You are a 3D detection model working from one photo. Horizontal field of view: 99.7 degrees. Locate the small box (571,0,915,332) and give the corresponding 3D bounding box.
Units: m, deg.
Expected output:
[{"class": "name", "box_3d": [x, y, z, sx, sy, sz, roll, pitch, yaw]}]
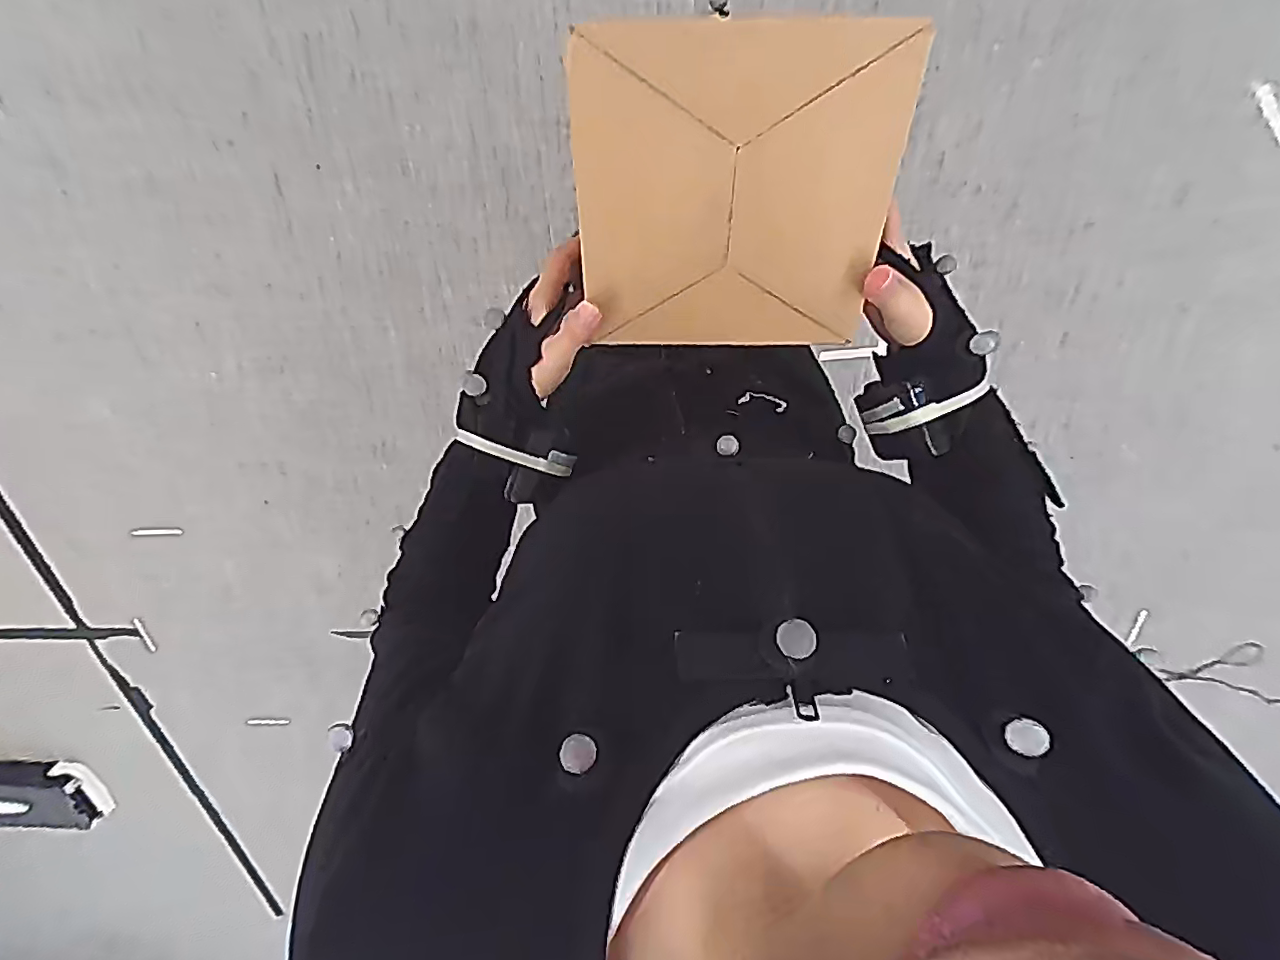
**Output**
[{"class": "small box", "box_3d": [0.057, -0.210, 0.360, 0.179, 0.176, 0.168, 0, 131, 1]}]
